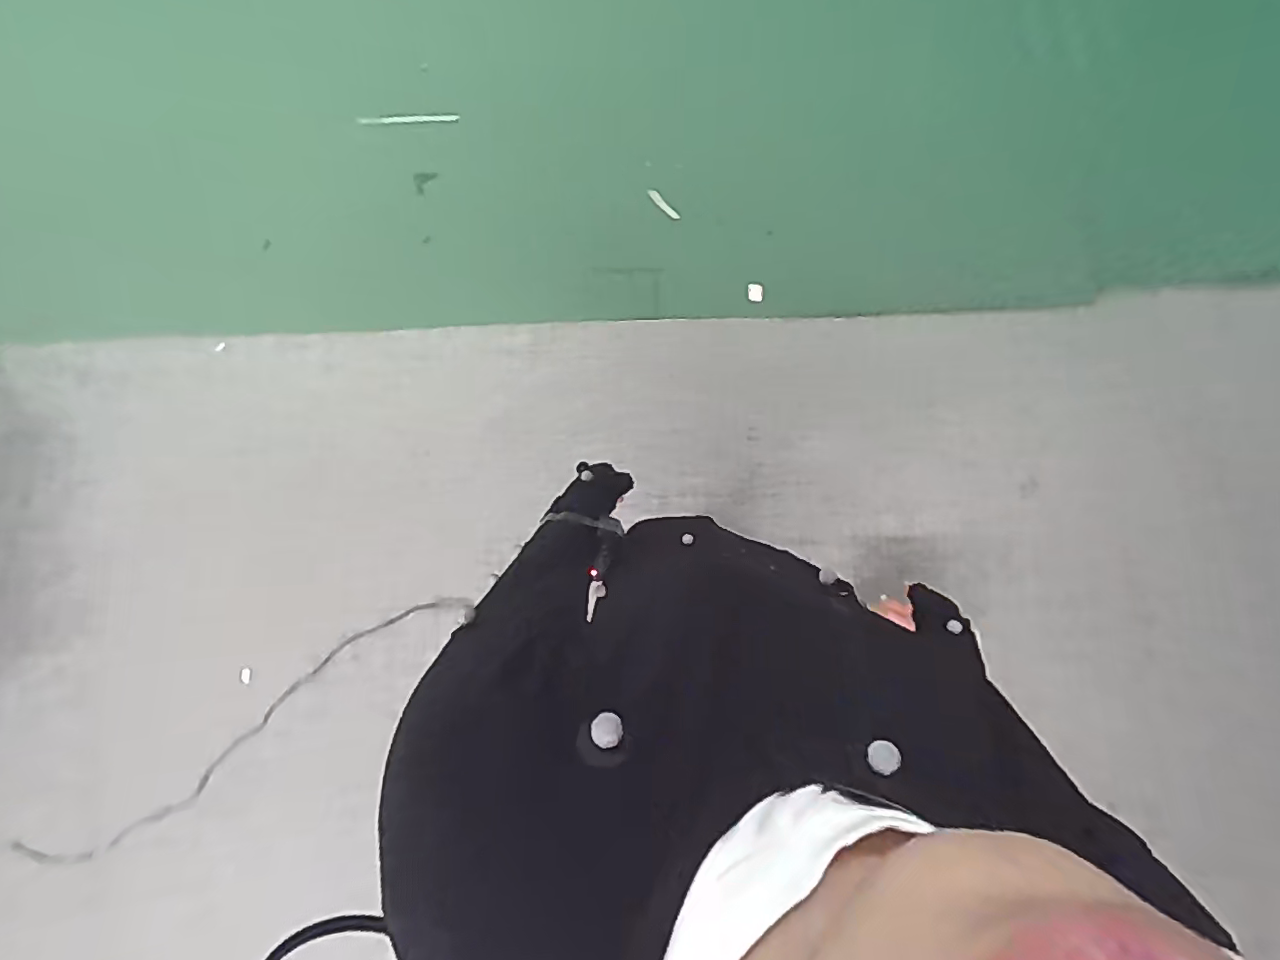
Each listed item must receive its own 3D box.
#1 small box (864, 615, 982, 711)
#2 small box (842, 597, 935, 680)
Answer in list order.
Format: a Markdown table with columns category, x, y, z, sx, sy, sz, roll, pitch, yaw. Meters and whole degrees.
| category | x | y | z | sx | sy | sz | roll | pitch | yaw |
| --- | --- | --- | --- | --- | --- | --- | --- | --- | --- |
| small box | 0.604 | 0.388 | 1.171 | 0.179 | 0.176 | 0.168 | 1 | 83 | 5 |
| small box | 0.607 | 0.389 | 1.333 | 0.168 | 0.176 | 0.179 | 2 | 83 | 4 |
